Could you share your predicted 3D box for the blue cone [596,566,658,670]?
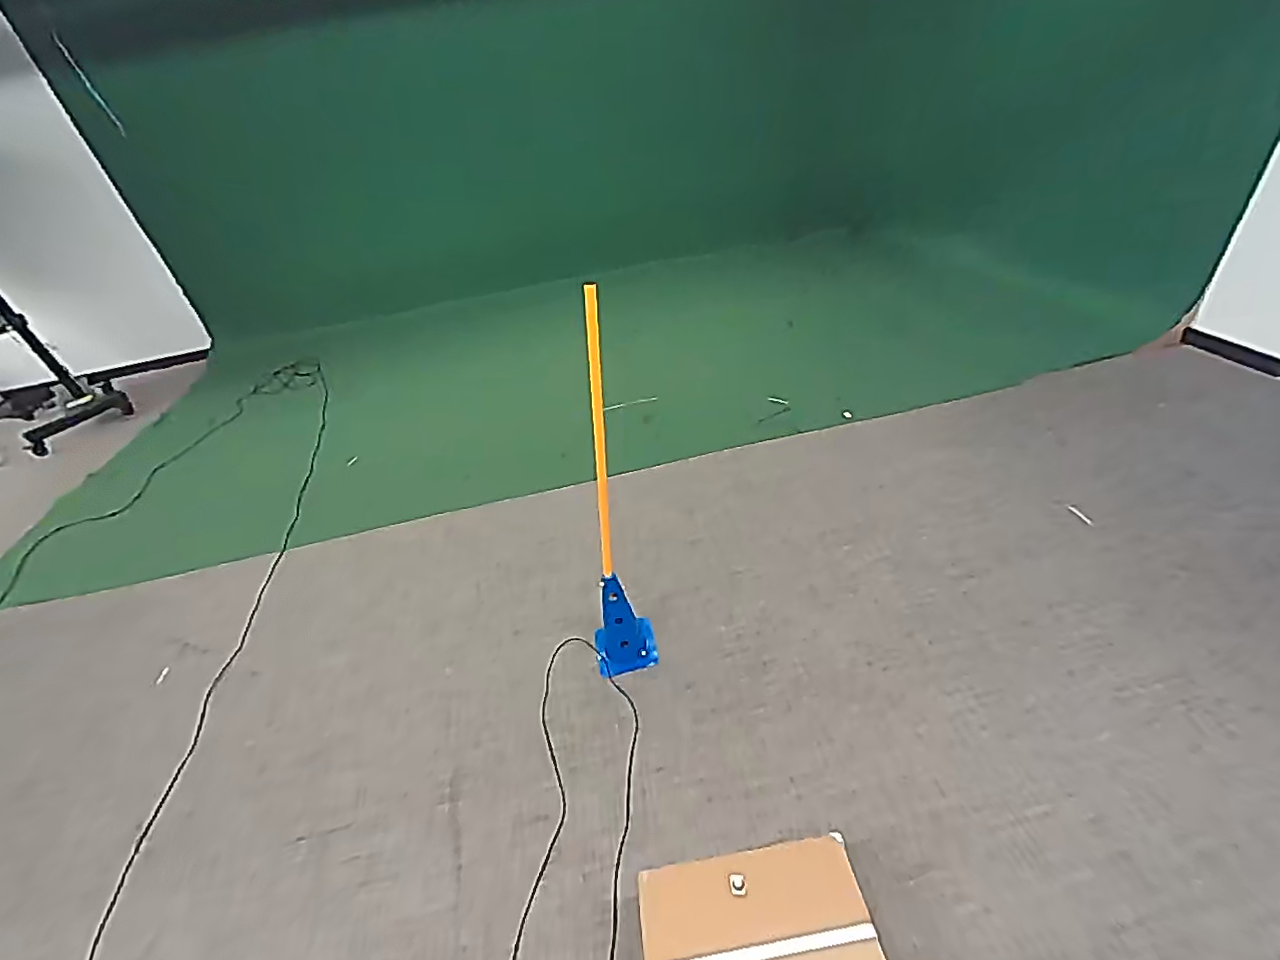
[{"bbox_3d":[-0.068,0.406,1.714,0.193,0.380,0.192,-13,38,-7],"label":"blue cone"}]
